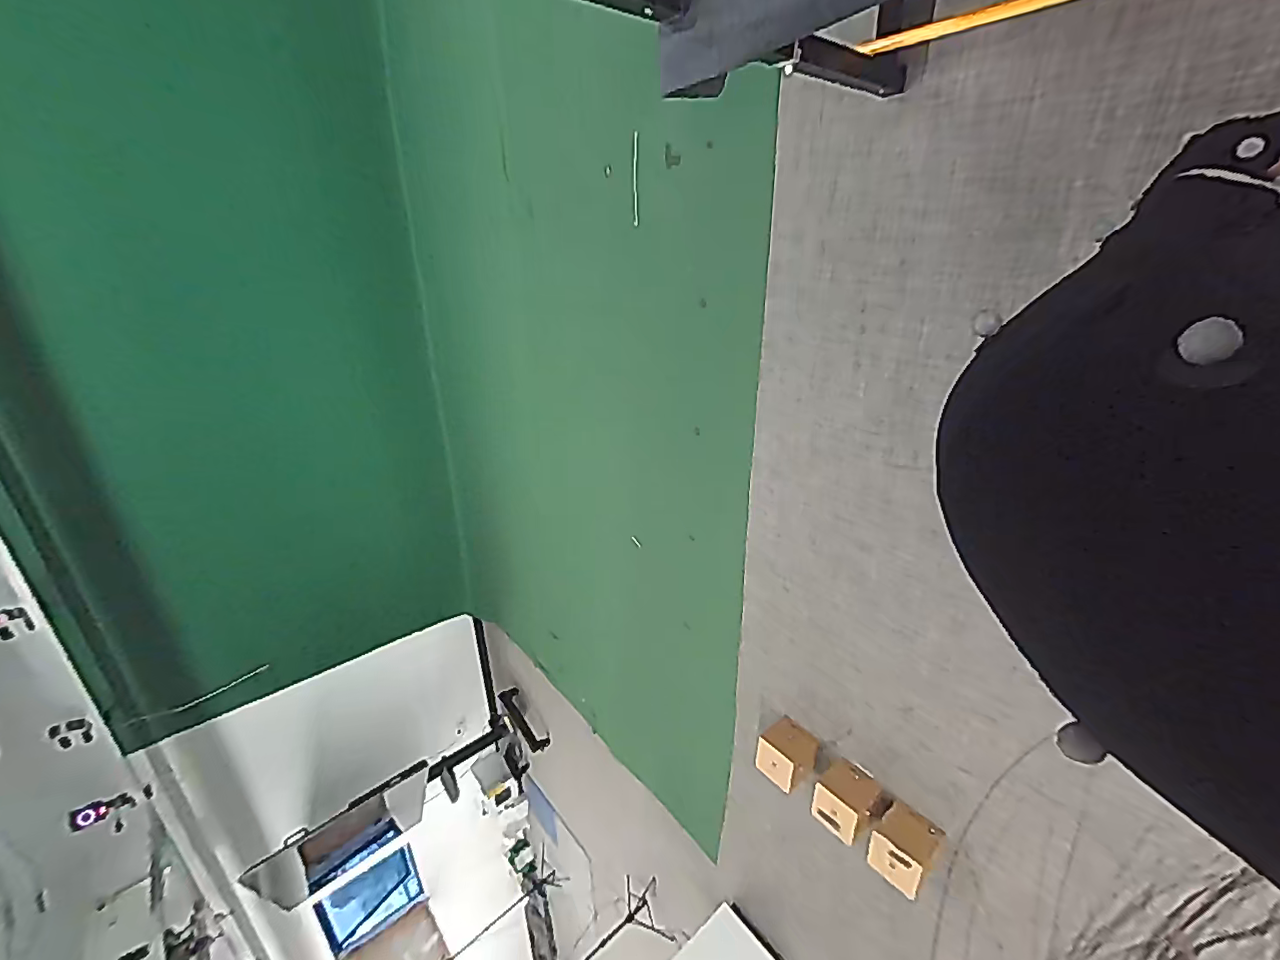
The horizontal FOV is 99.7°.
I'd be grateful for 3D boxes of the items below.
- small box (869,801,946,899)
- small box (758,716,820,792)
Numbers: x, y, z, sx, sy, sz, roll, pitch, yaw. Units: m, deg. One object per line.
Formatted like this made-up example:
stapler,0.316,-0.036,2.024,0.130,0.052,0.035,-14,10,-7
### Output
small box,0.899,1.233,1.816,0.168,0.176,0.179,24,125,45
small box,0.596,1.086,2.158,0.168,0.176,0.179,27,125,46
